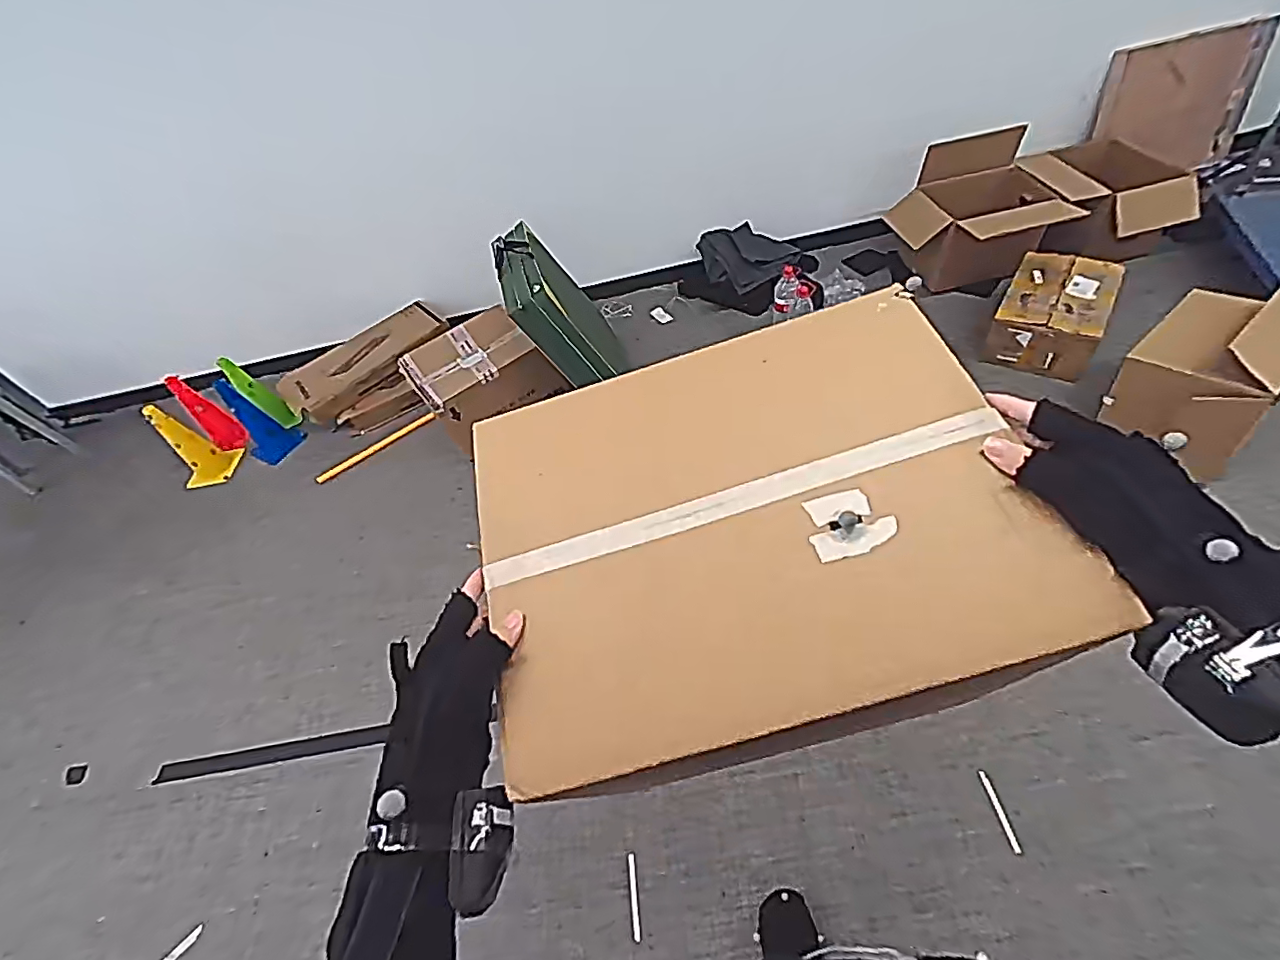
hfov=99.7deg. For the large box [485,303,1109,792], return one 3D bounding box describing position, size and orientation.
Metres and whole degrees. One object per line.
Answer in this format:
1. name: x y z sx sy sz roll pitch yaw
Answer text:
1. large box: 0.104 0.094 0.552 0.408 0.320 0.320 -18 59 3
